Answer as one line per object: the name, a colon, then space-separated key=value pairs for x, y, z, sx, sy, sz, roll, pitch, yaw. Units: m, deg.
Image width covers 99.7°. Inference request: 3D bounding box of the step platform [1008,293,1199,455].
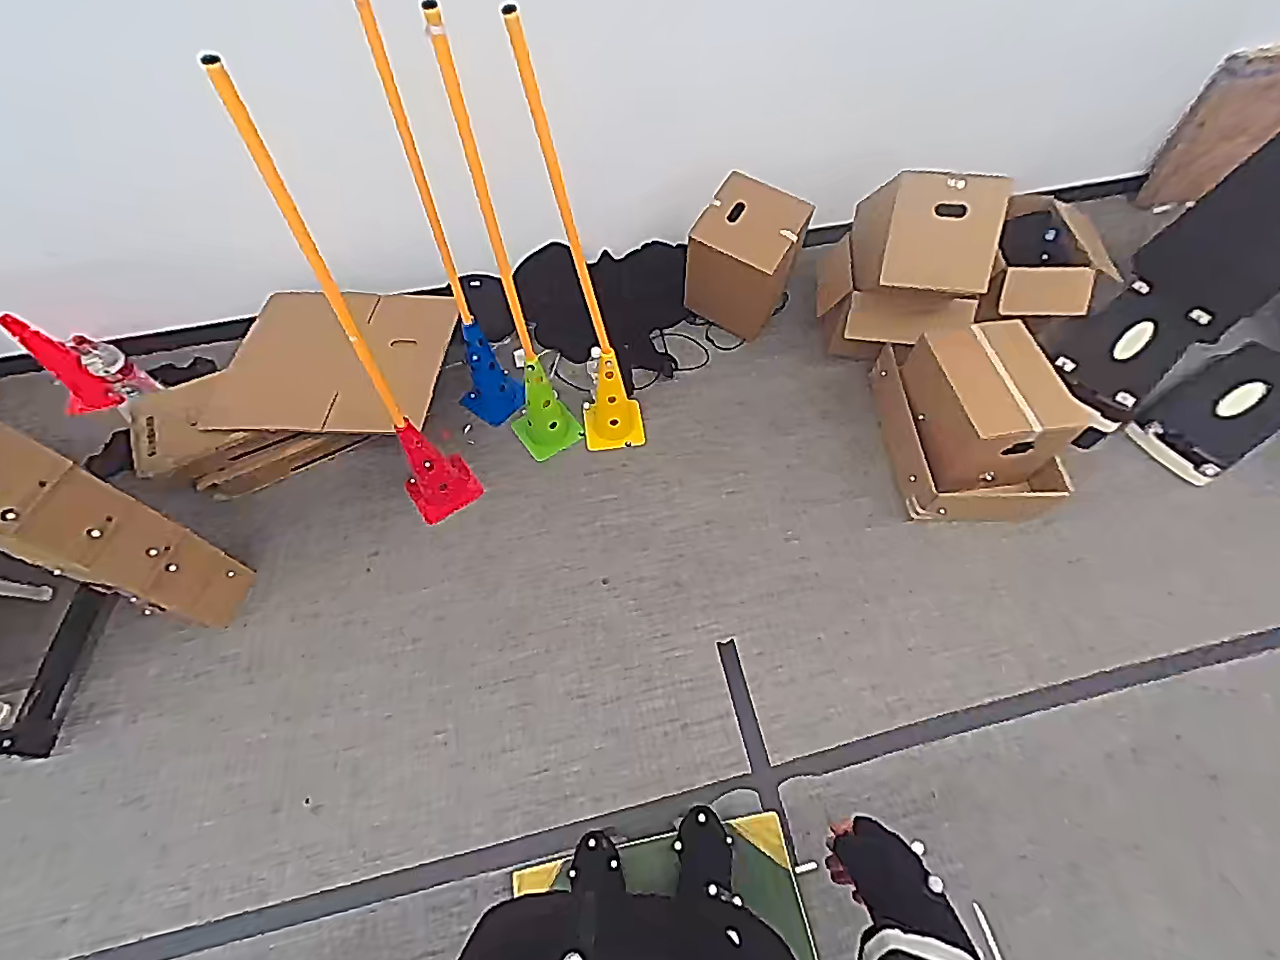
step platform: x=1.632 y=-0.387 z=1.902 sx=0.684 sy=0.204 sz=0.286 roll=-37 pitch=66 yaw=-19
